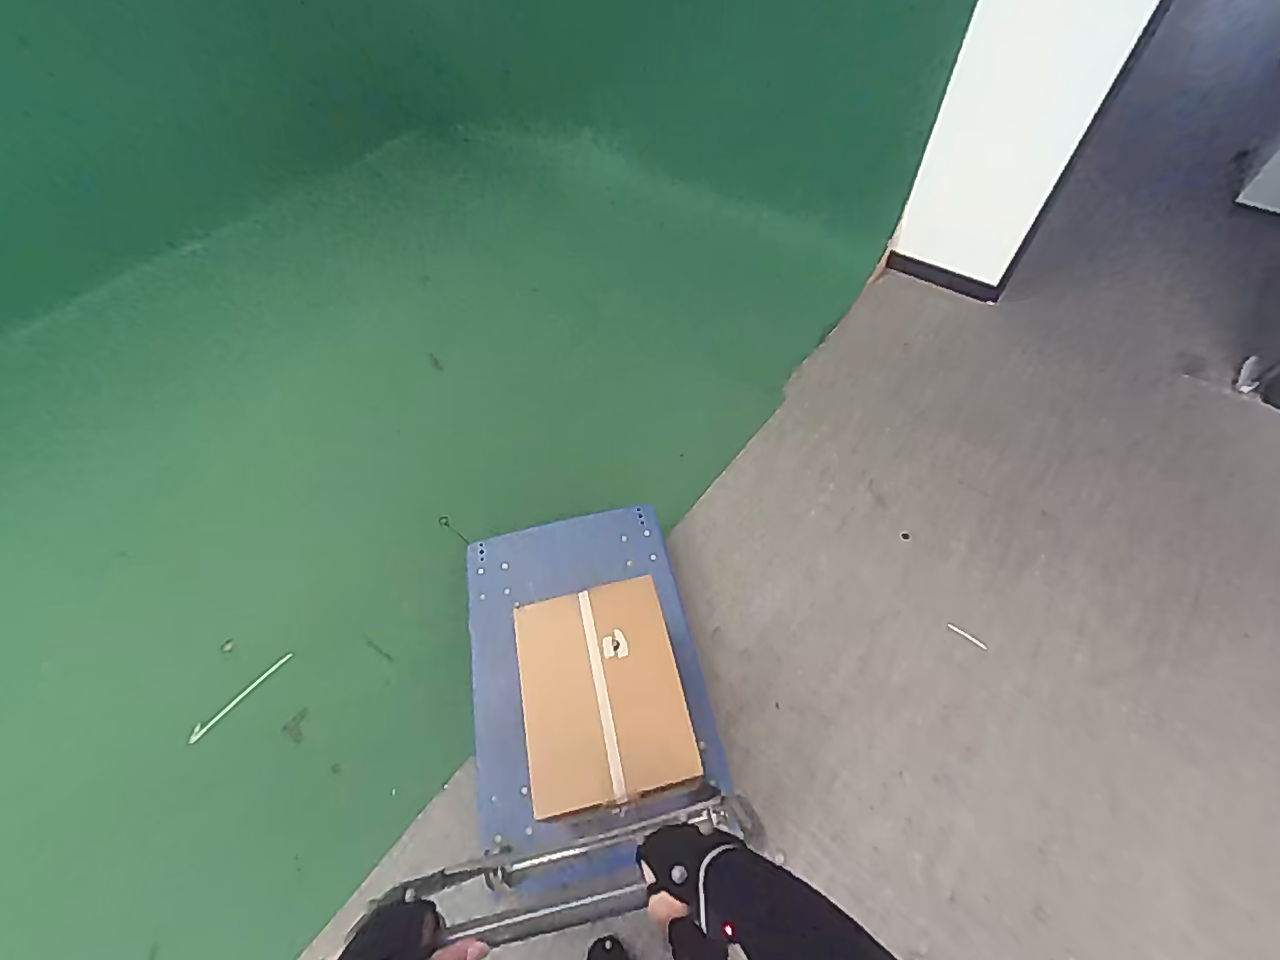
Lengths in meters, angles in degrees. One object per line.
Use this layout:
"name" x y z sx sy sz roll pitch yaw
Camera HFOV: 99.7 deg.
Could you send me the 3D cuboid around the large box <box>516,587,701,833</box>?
"large box" -0.068 0.514 1.208 0.320 0.320 0.408 -13 55 -4
